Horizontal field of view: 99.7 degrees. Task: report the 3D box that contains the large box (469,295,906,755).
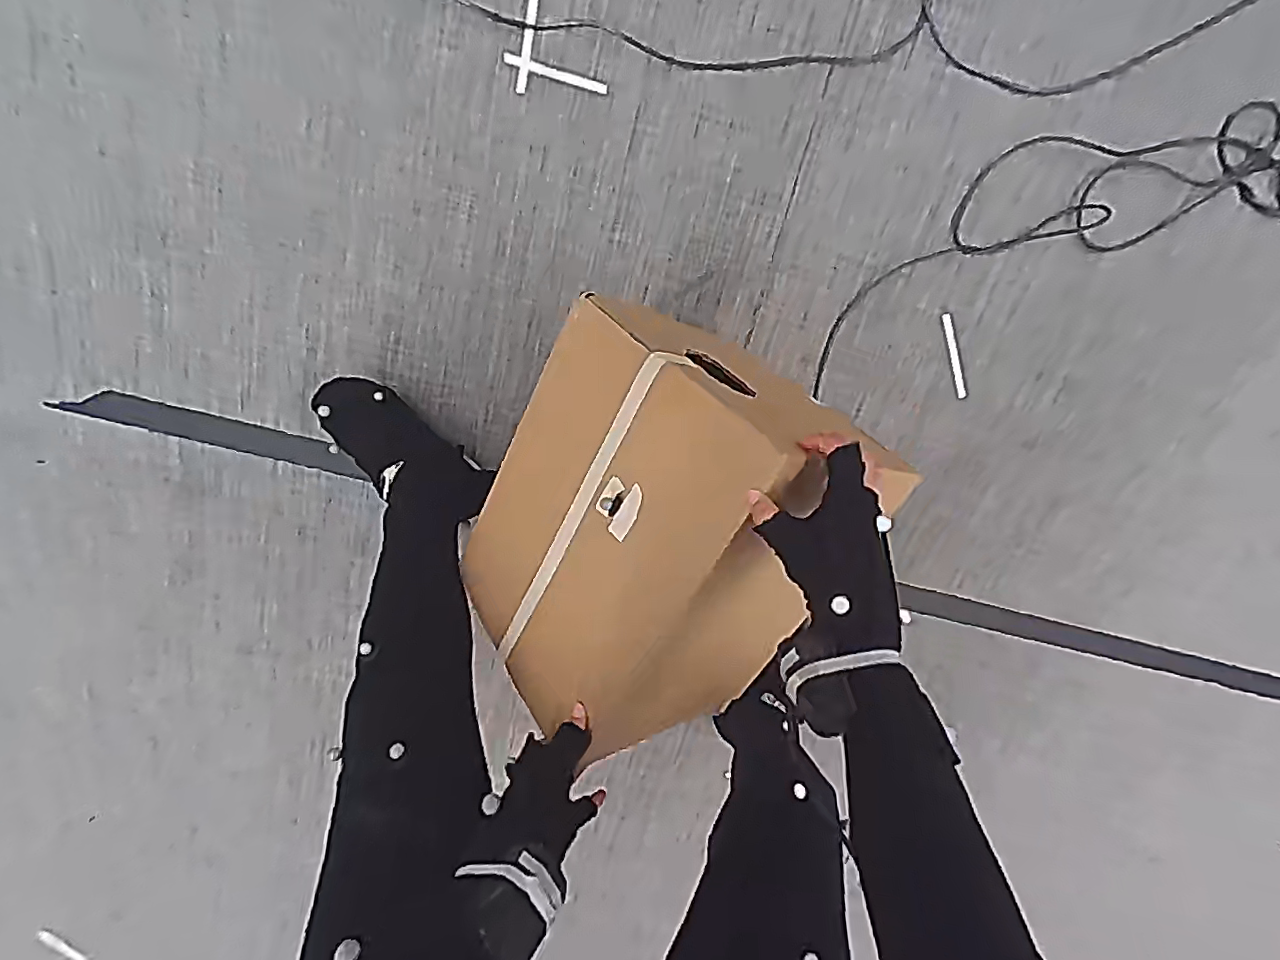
[{"bbox_3d":[0.041,0.053,0.685,0.320,0.320,0.408,4,123,-46],"label":"large box"}]
